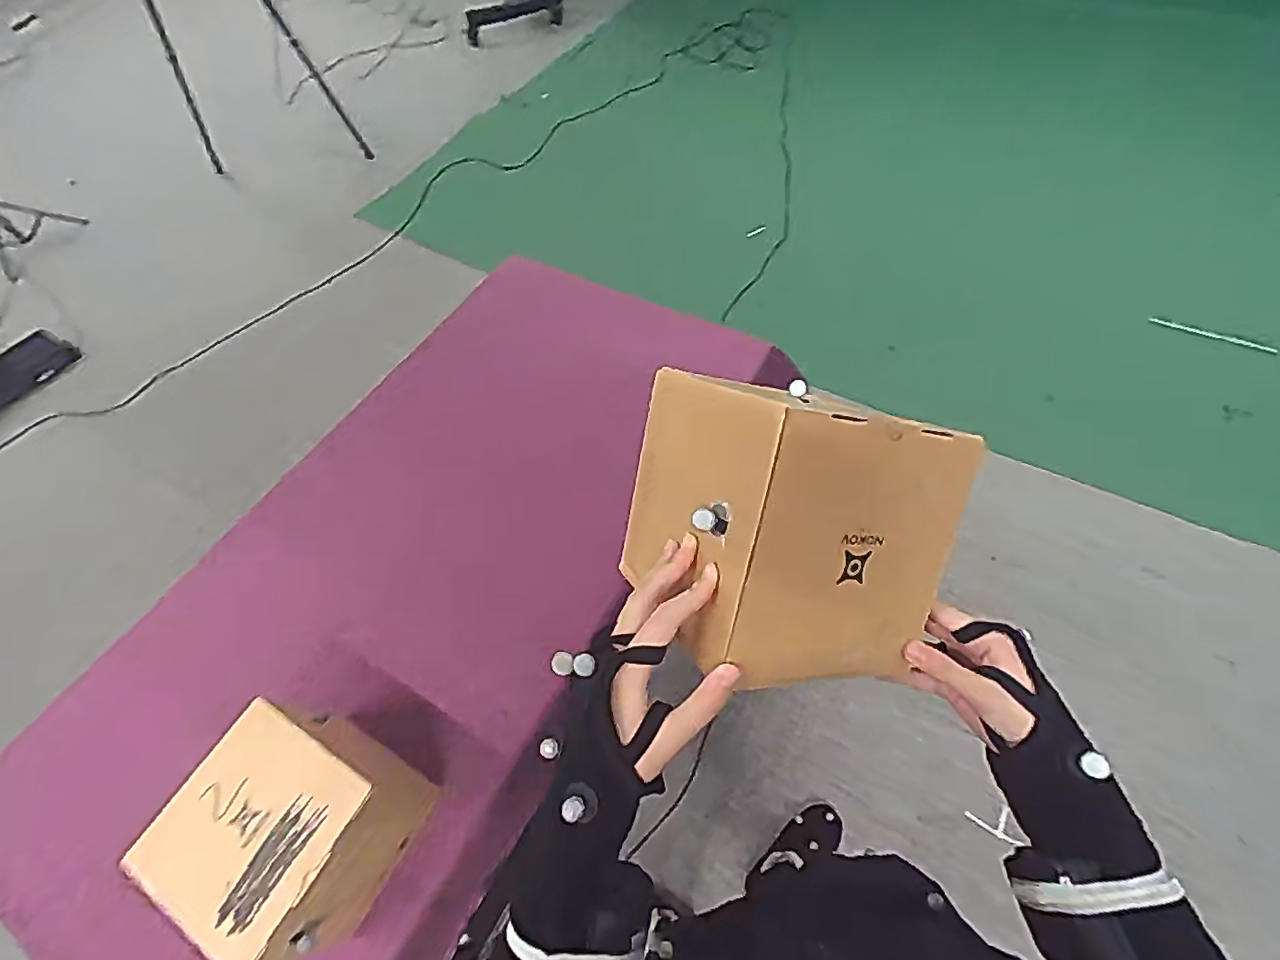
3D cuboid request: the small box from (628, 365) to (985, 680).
[{"bbox_3d":[0.102,0.021,0.404,0.168,0.179,0.176,5,15,-24],"label":"small box"}]
